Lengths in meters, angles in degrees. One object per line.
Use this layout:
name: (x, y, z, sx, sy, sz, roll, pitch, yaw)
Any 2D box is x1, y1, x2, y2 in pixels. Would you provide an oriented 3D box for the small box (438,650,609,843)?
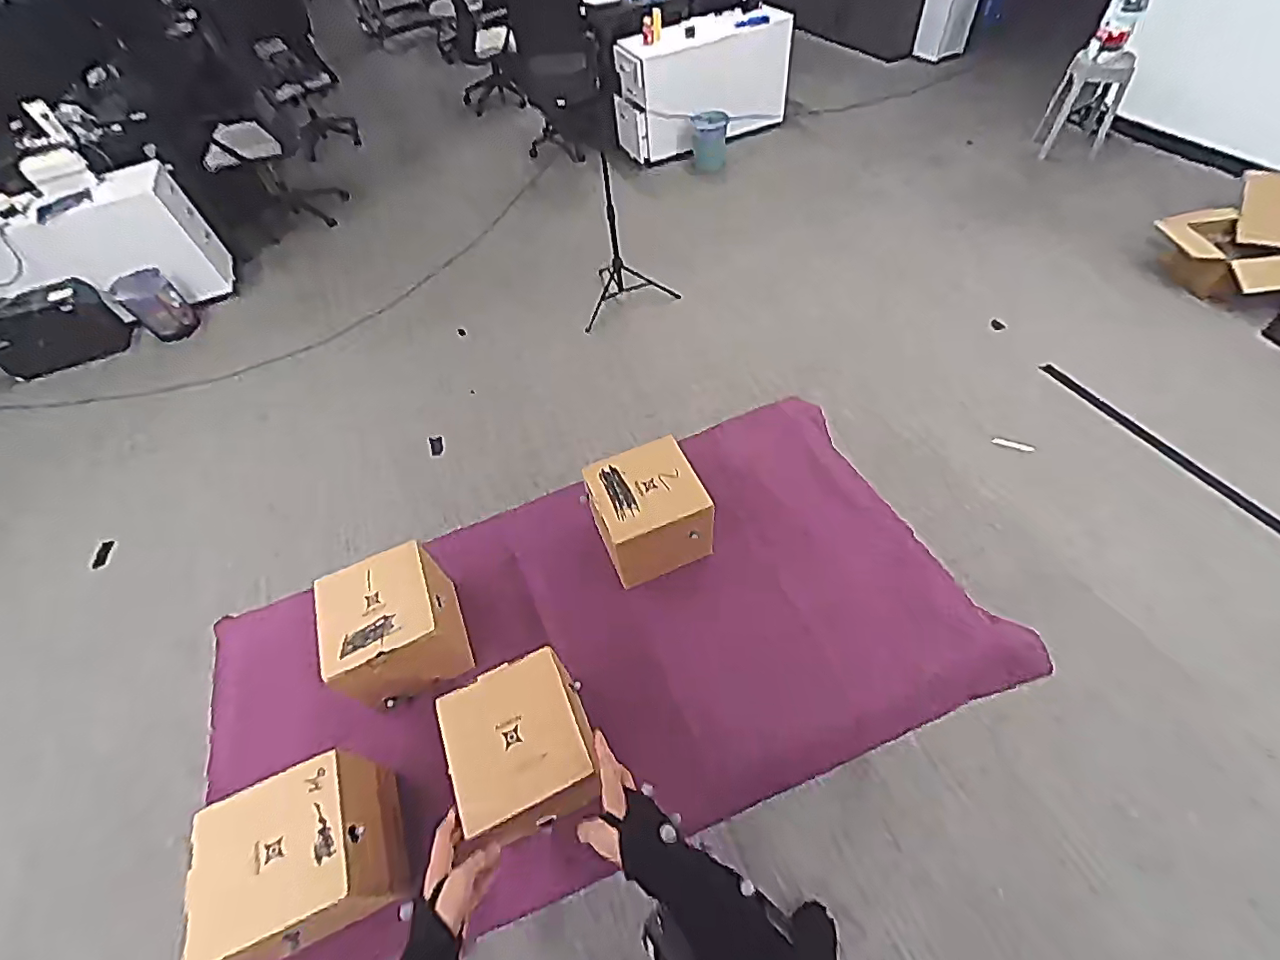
small box: (-0.156, 0.372, 0.751, 0.168, 0.176, 0.179, -23, 56, -10)

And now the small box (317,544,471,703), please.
small box: (-0.392, 0.241, 0.879, 0.168, 0.176, 0.179, -23, 53, -11)

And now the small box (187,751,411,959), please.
small box: (-0.425, 0.483, 0.697, 0.179, 0.176, 0.168, -22, 54, -9)
